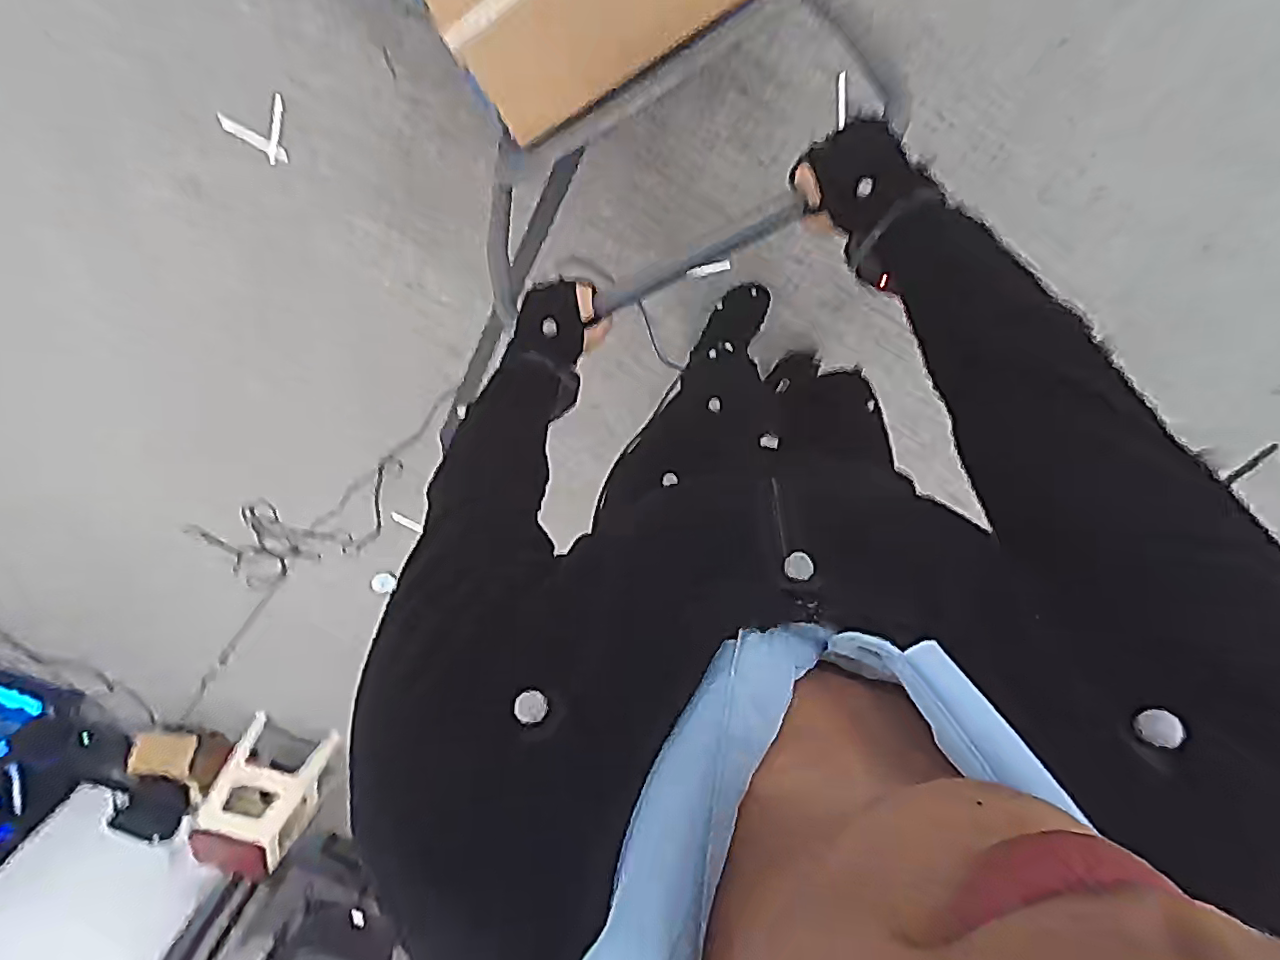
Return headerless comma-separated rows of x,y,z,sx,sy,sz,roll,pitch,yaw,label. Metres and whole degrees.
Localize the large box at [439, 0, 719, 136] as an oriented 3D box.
-0.087,-0.793,0.760,0.408,0.320,0.320,-23,138,19,large box
